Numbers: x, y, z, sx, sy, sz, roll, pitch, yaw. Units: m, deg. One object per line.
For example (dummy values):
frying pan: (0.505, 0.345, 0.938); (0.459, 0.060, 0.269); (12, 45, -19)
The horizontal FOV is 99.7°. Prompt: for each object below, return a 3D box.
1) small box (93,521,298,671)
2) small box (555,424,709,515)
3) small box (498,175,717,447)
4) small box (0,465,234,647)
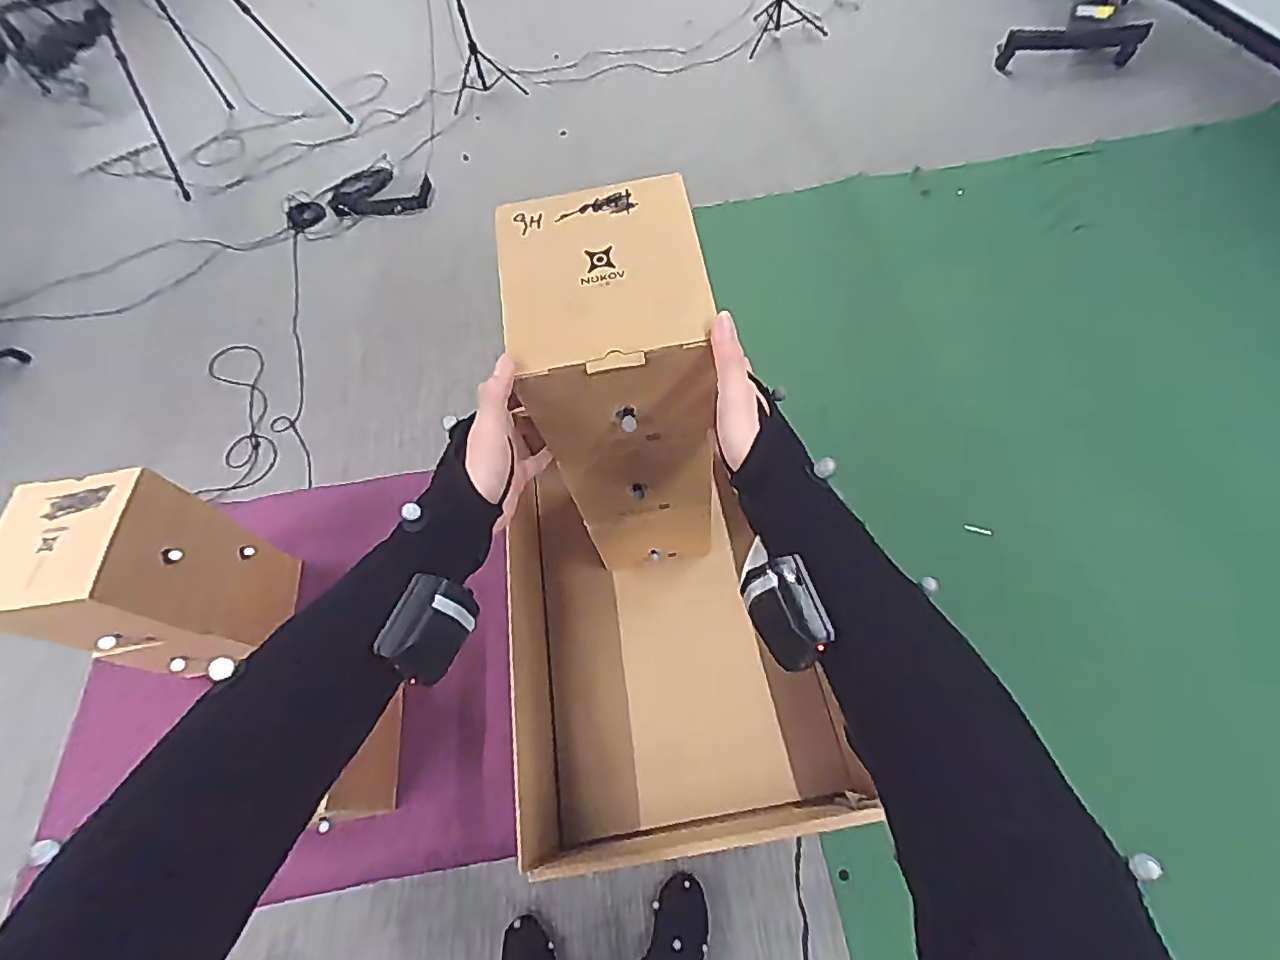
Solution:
small box: (-0.673, 0.190, 0.847); (0.168, 0.176, 0.179); (-12, 59, 0)
small box: (-0.008, -0.068, 0.668); (0.168, 0.176, 0.179); (-8, 60, 2)
small box: (-0.025, -0.142, 0.511); (0.168, 0.176, 0.179); (-9, 70, 1)
small box: (-0.683, 0.104, 0.707); (0.168, 0.176, 0.179); (-8, 60, 2)
